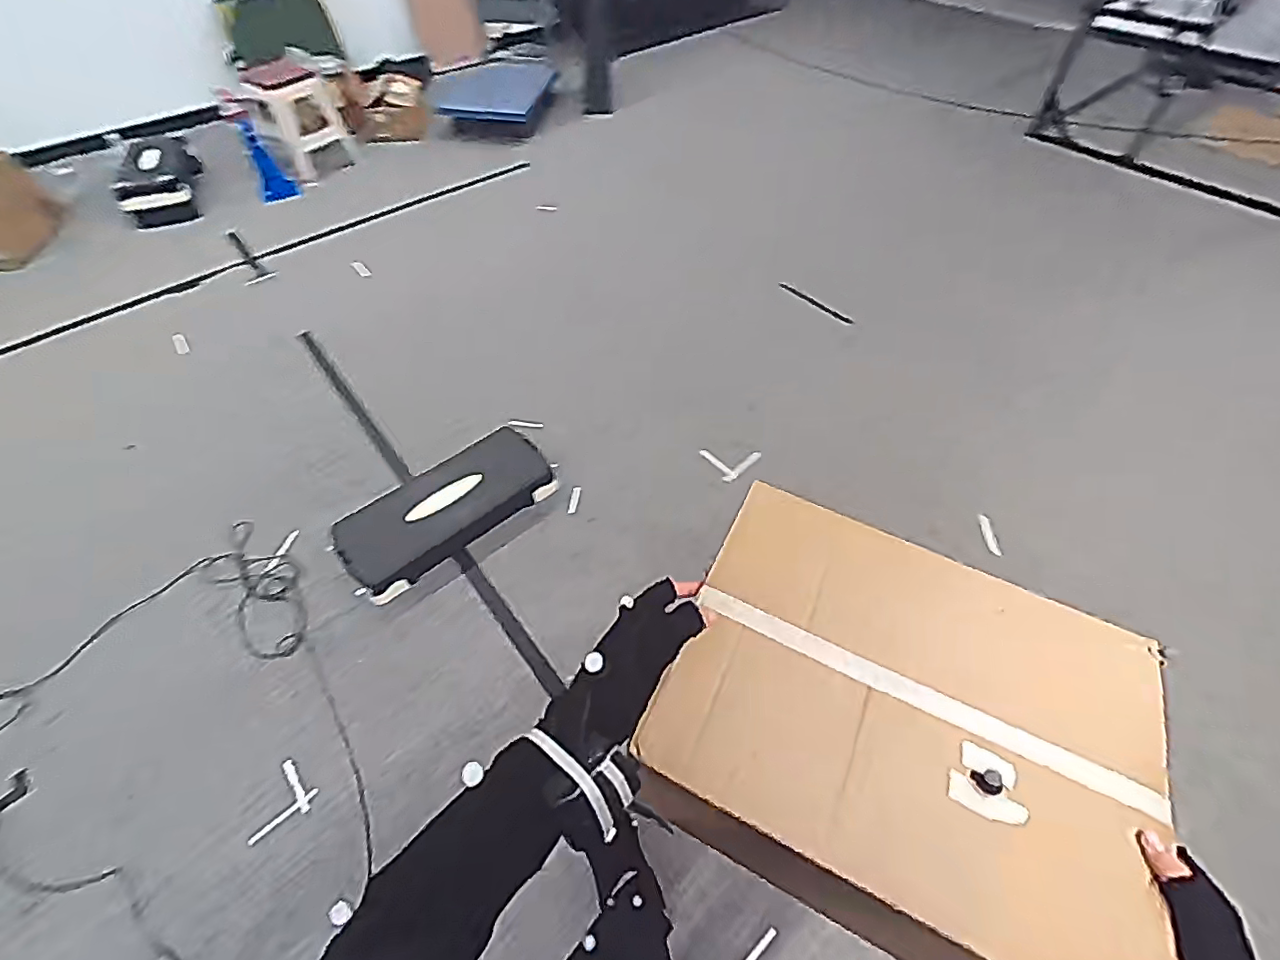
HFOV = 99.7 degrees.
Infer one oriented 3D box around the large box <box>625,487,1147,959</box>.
[{"bbox_3d":[0.224,0.272,0.611,0.408,0.320,0.320,22,57,14],"label":"large box"}]
